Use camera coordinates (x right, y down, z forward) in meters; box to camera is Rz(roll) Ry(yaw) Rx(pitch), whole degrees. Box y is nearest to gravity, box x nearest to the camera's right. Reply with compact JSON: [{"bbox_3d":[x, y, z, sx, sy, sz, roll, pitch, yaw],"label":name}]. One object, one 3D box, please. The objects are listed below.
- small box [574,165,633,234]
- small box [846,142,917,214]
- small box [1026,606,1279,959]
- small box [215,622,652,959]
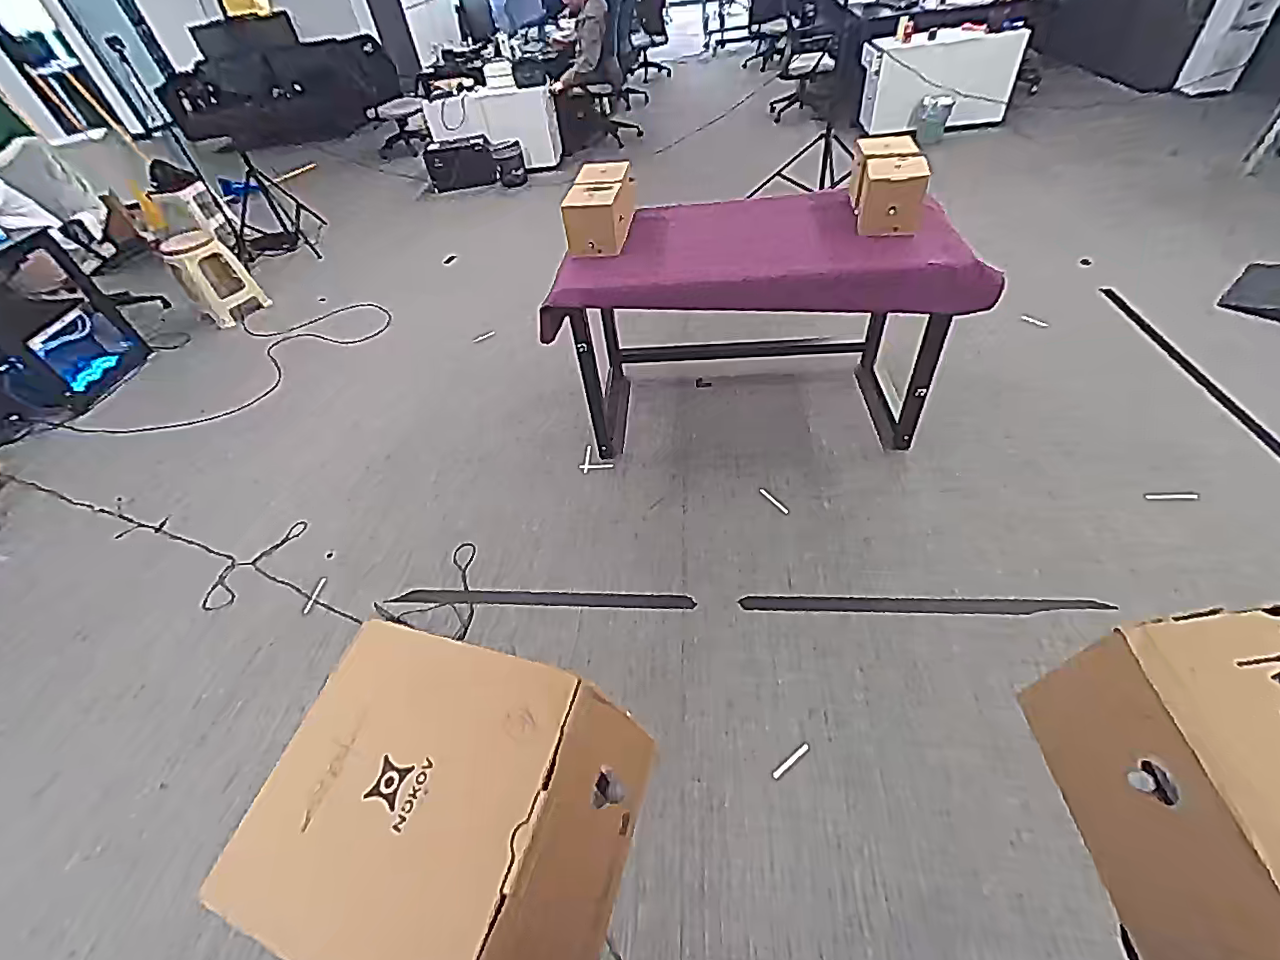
[{"bbox_3d":[-0.122,-0.984,1.901,0.168,0.176,0.179,2,48,10],"label":"small box"},{"bbox_3d":[0.789,-0.997,1.785,0.168,0.176,0.179,2,46,9],"label":"small box"},{"bbox_3d":[0.377,0.187,0.320,0.168,0.176,0.179,-11,54,7],"label":"small box"},{"bbox_3d":[-0.107,0.219,0.362,0.179,0.176,0.168,5,54,24],"label":"small box"}]
